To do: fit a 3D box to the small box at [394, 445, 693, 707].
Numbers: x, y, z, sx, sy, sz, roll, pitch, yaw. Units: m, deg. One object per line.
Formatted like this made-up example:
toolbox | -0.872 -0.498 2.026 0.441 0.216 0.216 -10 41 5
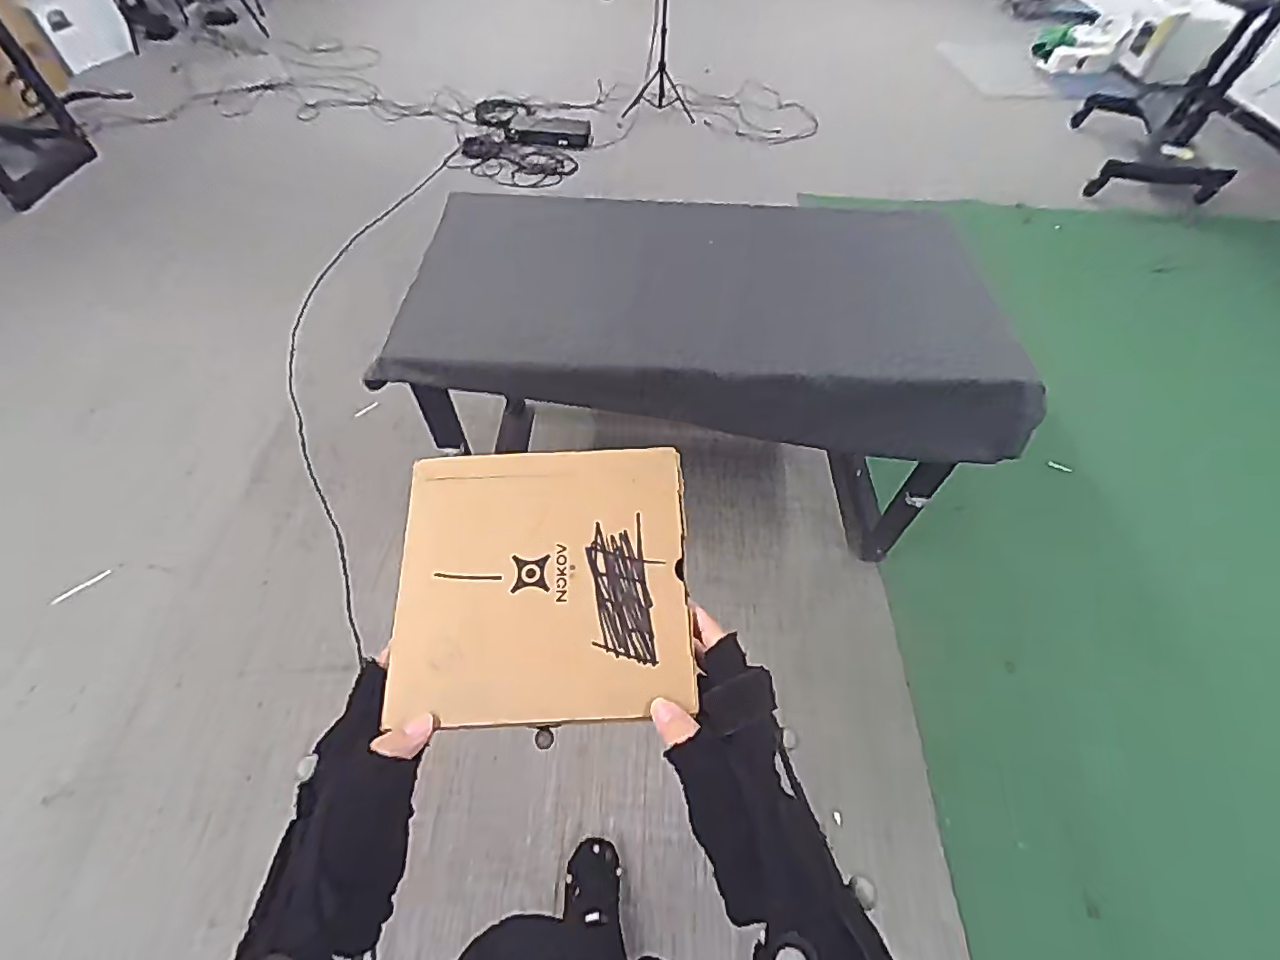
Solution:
small box | -0.060 0.083 0.417 0.179 0.176 0.168 -1 67 -2
